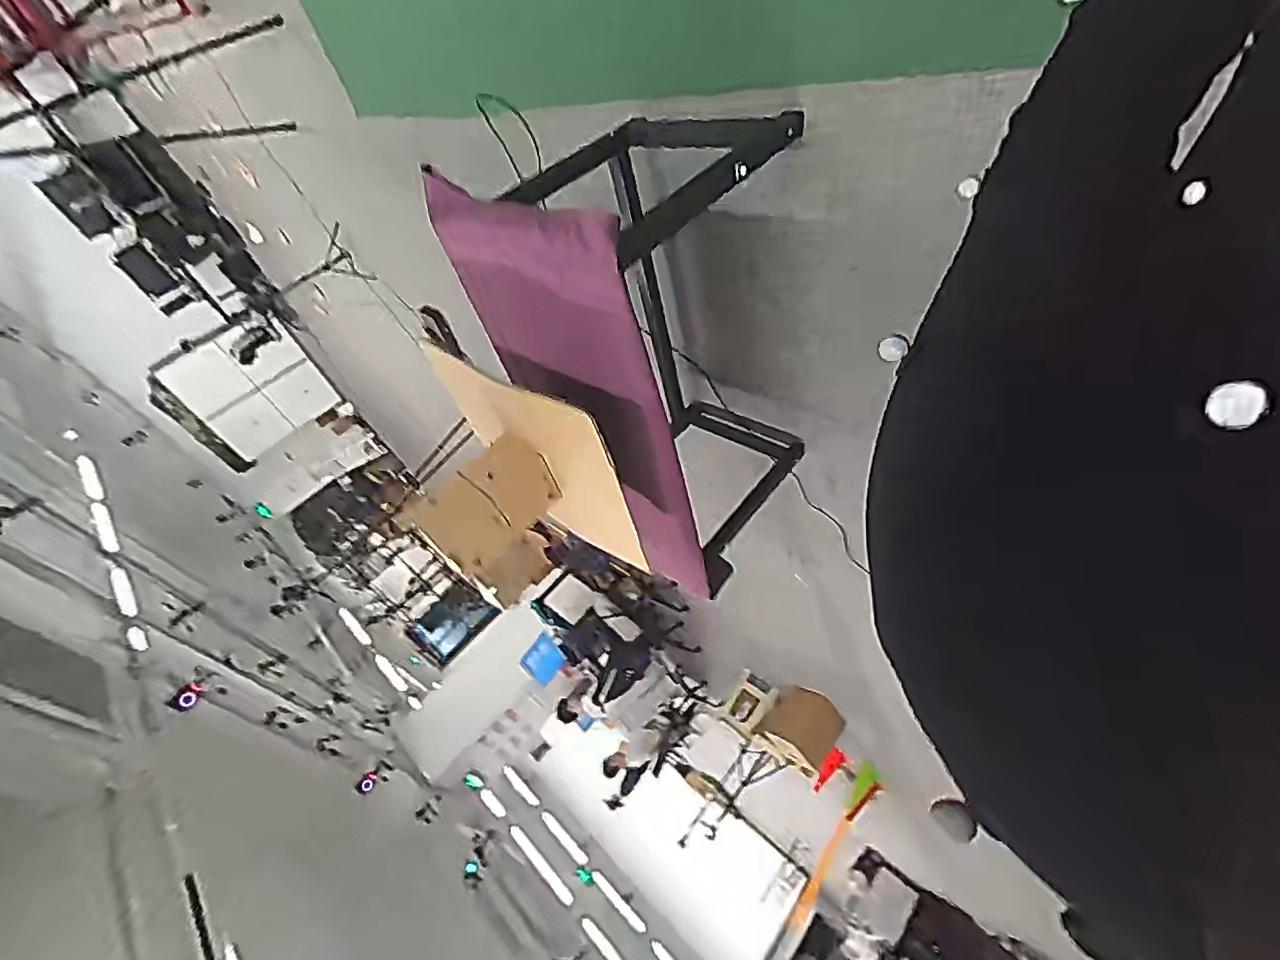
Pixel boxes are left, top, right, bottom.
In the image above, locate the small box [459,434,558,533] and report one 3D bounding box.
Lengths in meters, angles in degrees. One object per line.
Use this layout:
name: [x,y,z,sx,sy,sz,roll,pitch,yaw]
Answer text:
small box: [-0.343,0.004,1.455,0.179,0.176,0.168,31,153,35]
